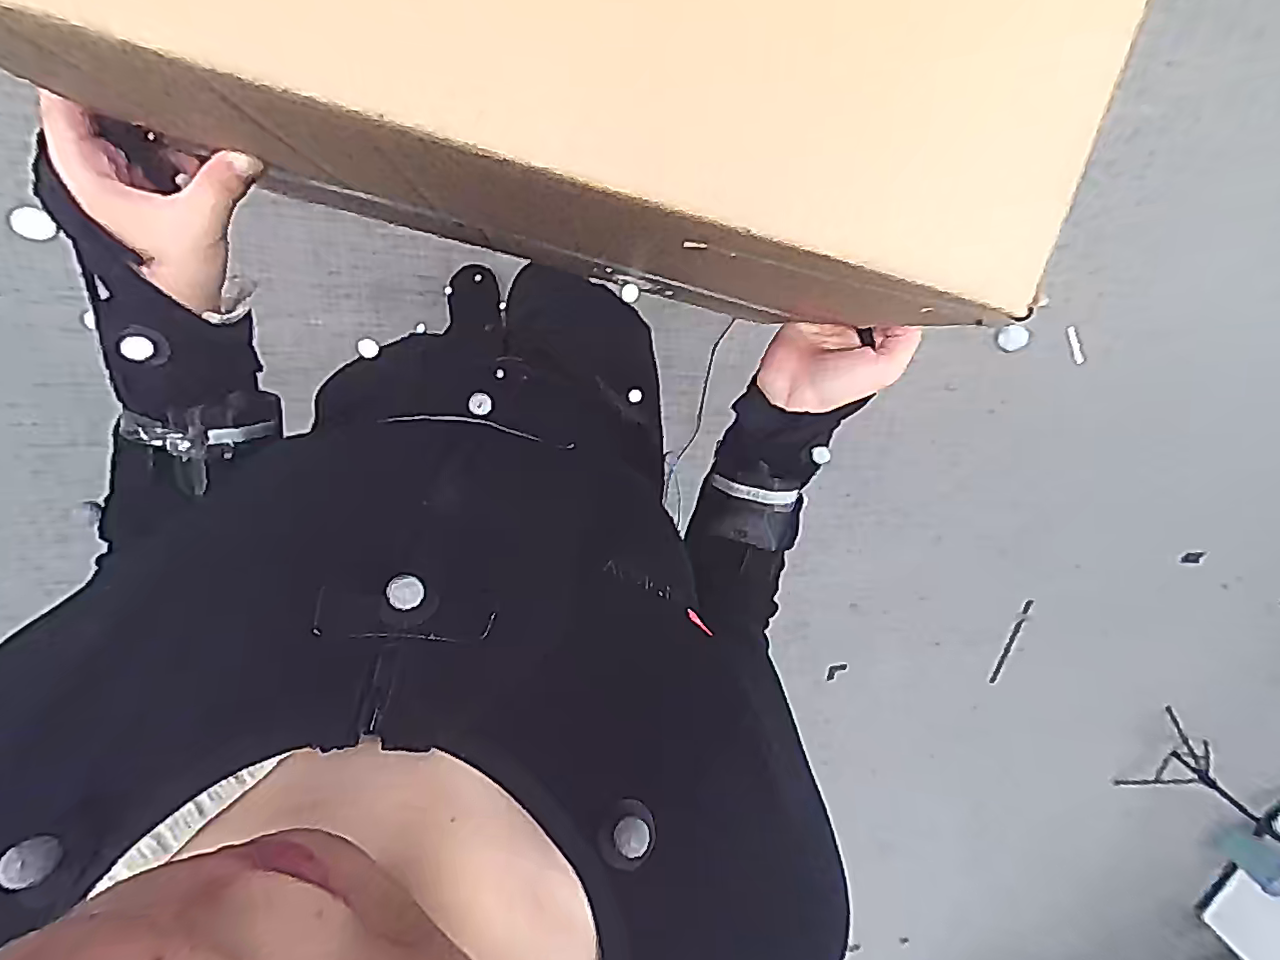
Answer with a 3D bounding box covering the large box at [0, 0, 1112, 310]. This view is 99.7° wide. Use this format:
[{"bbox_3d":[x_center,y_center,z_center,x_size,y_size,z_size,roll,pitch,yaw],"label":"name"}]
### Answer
[{"bbox_3d":[-0.038,-0.292,0.277,0.408,0.320,0.320,9,106,-12],"label":"large box"}]
